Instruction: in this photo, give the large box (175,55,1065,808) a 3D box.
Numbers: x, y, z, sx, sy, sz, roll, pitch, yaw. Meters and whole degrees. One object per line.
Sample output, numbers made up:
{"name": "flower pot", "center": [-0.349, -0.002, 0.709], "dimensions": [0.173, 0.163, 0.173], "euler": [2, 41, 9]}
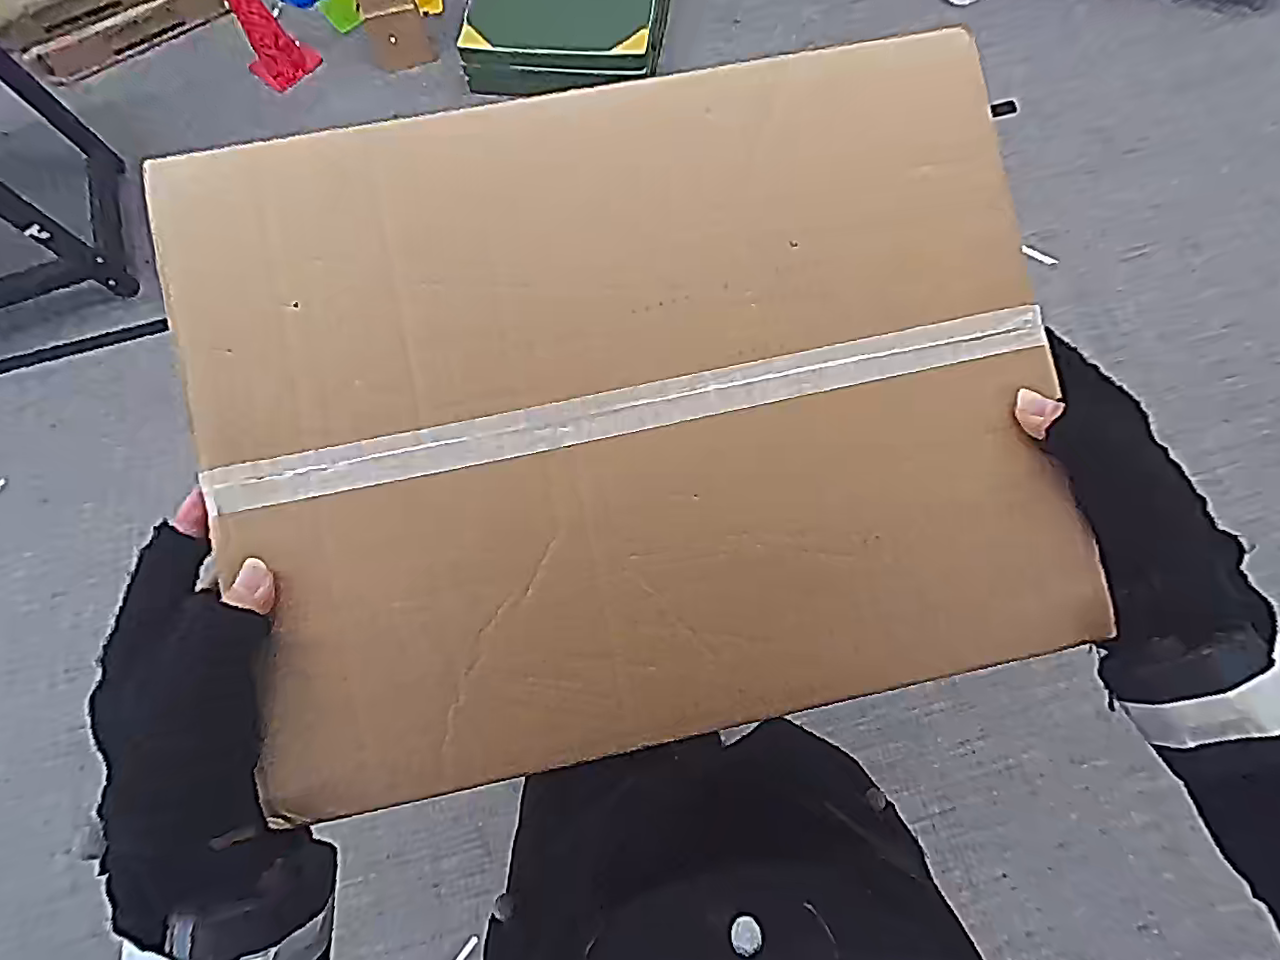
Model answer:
{"name": "large box", "center": [-0.009, -0.030, 0.418], "dimensions": [0.408, 0.320, 0.320], "euler": [-12, 88, -3]}
